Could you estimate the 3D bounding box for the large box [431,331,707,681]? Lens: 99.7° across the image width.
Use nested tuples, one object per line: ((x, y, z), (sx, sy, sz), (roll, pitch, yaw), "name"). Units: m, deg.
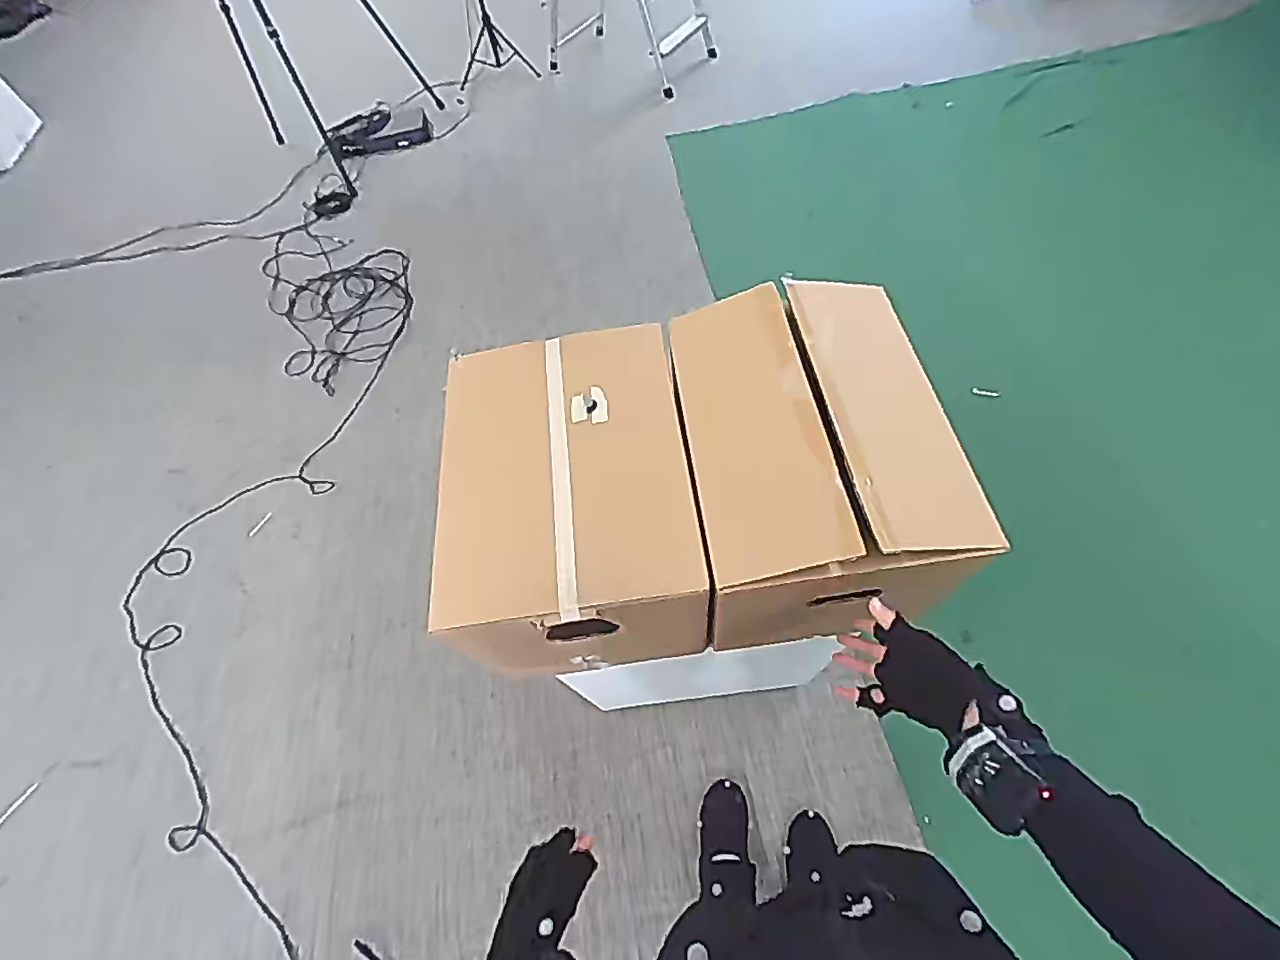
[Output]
((-0.088, 0.050, 0.818), (0.320, 0.320, 0.408), (-9, 59, 2), "large box")
